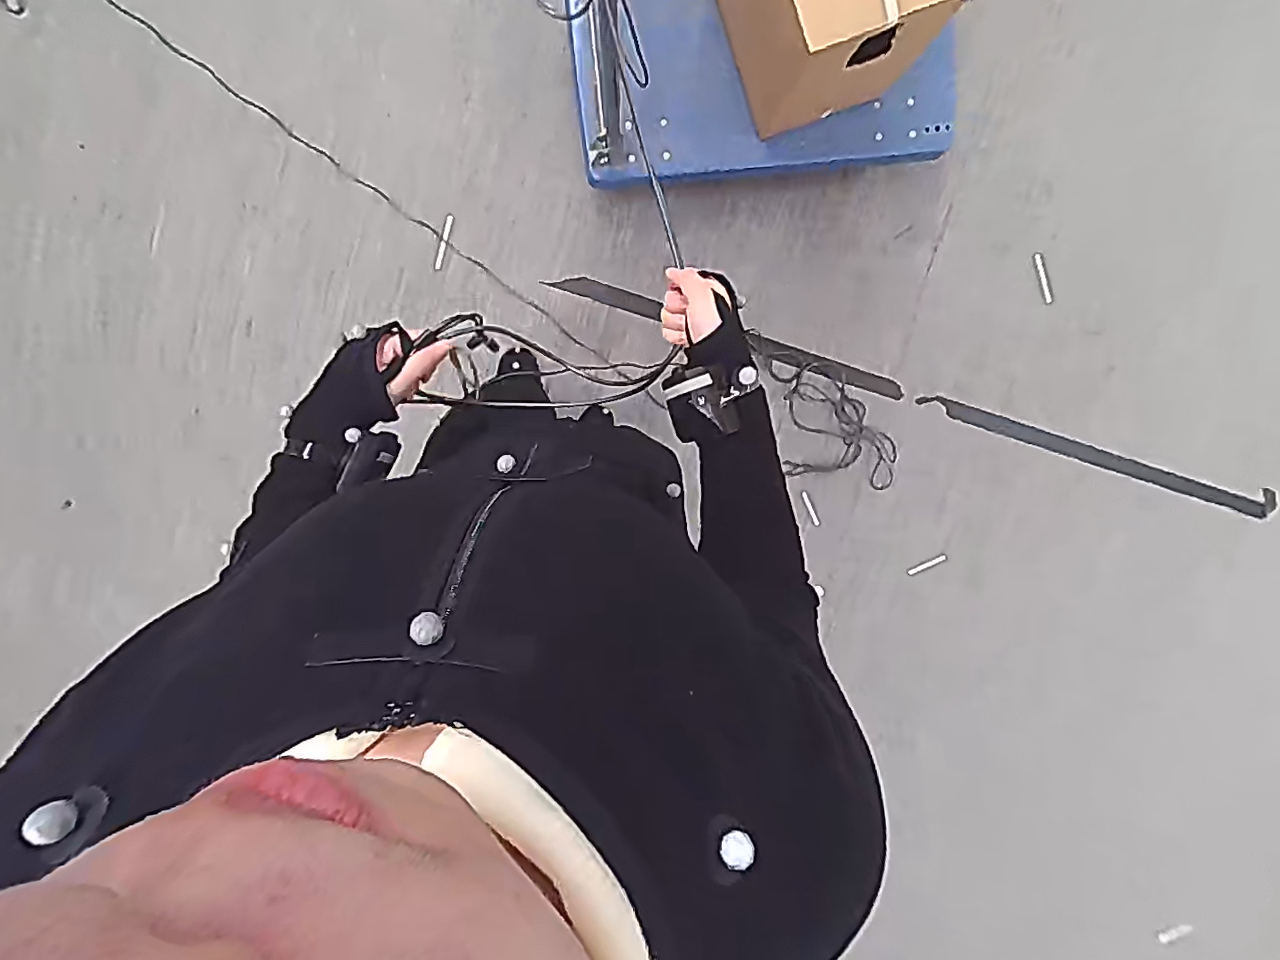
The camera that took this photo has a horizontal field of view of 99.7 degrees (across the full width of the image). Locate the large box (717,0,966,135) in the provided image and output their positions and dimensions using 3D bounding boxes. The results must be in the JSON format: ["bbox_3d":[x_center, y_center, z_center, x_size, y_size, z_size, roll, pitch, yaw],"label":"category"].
[{"bbox_3d":[0.356,-0.997,1.058,0.320,0.320,0.408,-21,99,0],"label":"large box"}]
